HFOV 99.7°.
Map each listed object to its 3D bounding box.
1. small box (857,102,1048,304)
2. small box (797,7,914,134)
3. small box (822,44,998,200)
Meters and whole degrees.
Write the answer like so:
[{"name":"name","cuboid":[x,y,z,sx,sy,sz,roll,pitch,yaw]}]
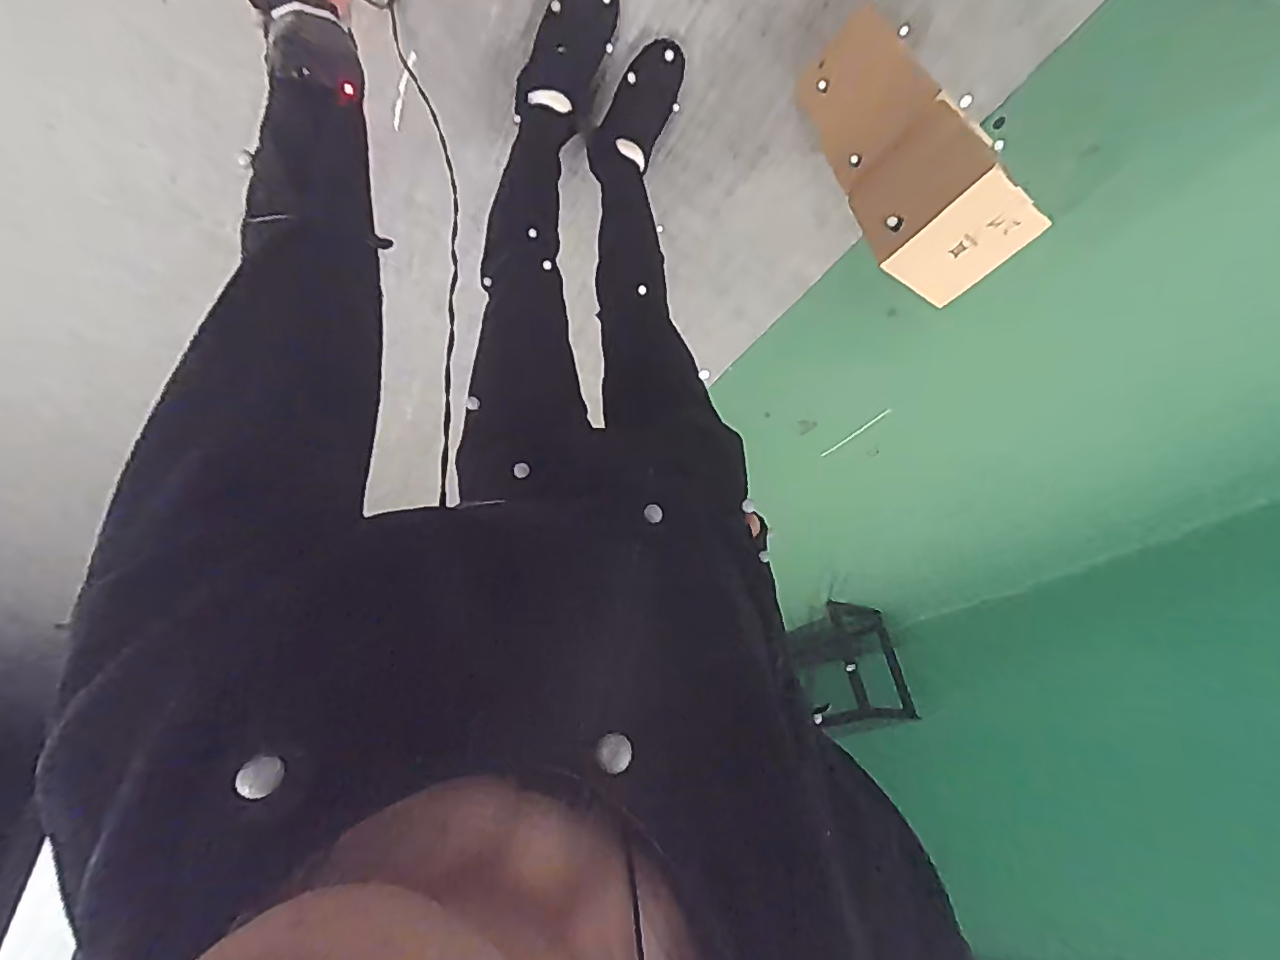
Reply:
[{"name":"small box","cuboid":[0.455,-0.412,0.818,0.168,0.176,0.179,15,143,-31]},{"name":"small box","cuboid":[0.412,-0.696,0.973,0.179,0.176,0.168,16,141,-33]},{"name":"small box","cuboid":[0.432,-0.558,0.891,0.168,0.176,0.179,14,143,-30]}]
